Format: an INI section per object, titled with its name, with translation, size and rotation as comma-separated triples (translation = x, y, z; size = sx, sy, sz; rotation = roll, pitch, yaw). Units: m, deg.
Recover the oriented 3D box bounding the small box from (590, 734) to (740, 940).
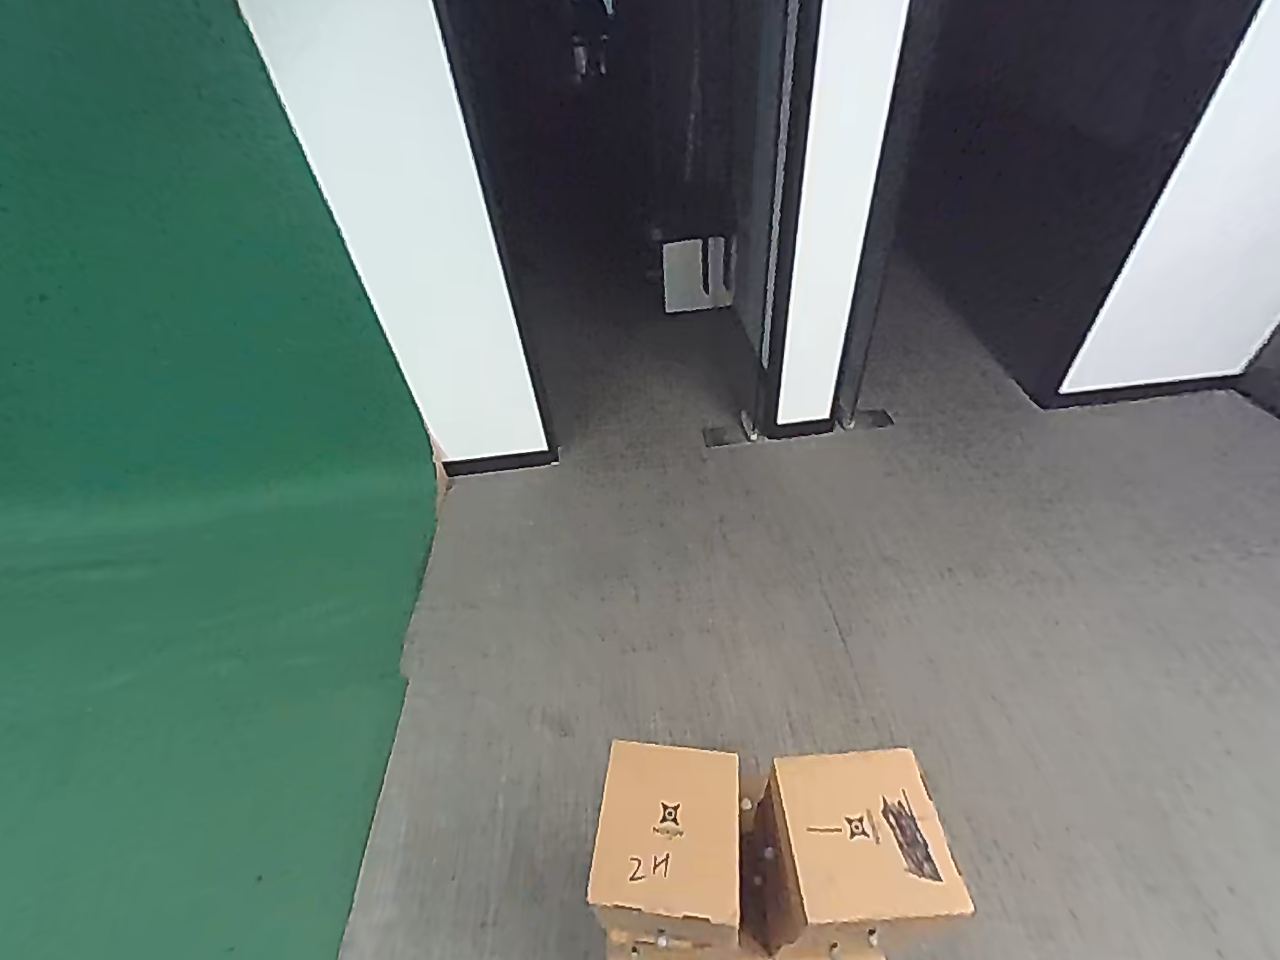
[small box]
translation = 0.040, 0.458, 0.697
size = 0.168, 0.176, 0.179
rotation = 2, 44, 9
